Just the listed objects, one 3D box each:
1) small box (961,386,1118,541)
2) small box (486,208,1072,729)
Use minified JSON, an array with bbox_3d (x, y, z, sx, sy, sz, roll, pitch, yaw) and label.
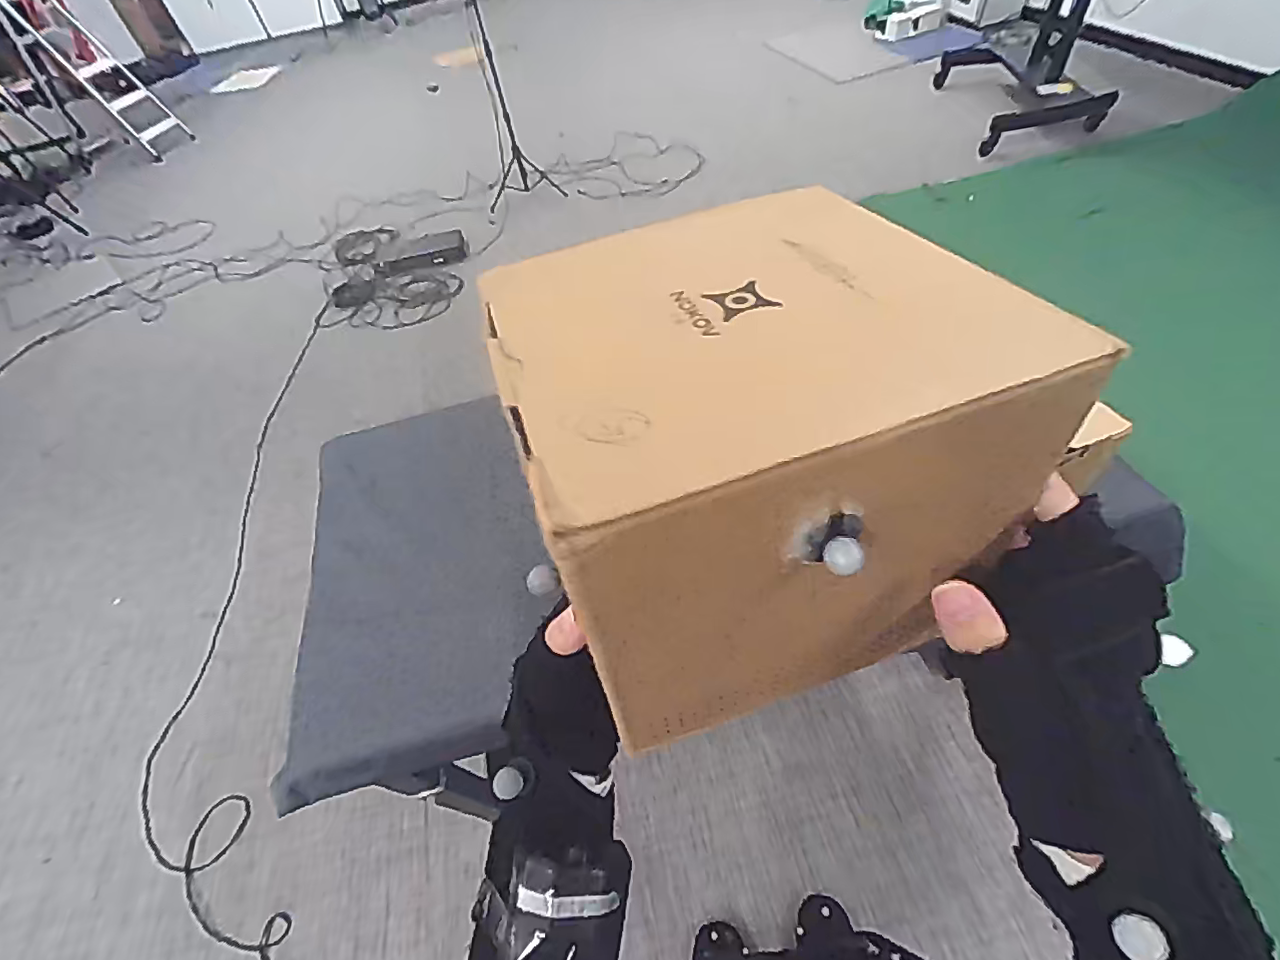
[{"bbox_3d":[0.473,-0.036,0.742,0.168,0.176,0.179,-19,50,-6],"label":"small box"},{"bbox_3d":[0.041,-0.007,0.269,0.179,0.176,0.168,-17,47,-10],"label":"small box"}]
